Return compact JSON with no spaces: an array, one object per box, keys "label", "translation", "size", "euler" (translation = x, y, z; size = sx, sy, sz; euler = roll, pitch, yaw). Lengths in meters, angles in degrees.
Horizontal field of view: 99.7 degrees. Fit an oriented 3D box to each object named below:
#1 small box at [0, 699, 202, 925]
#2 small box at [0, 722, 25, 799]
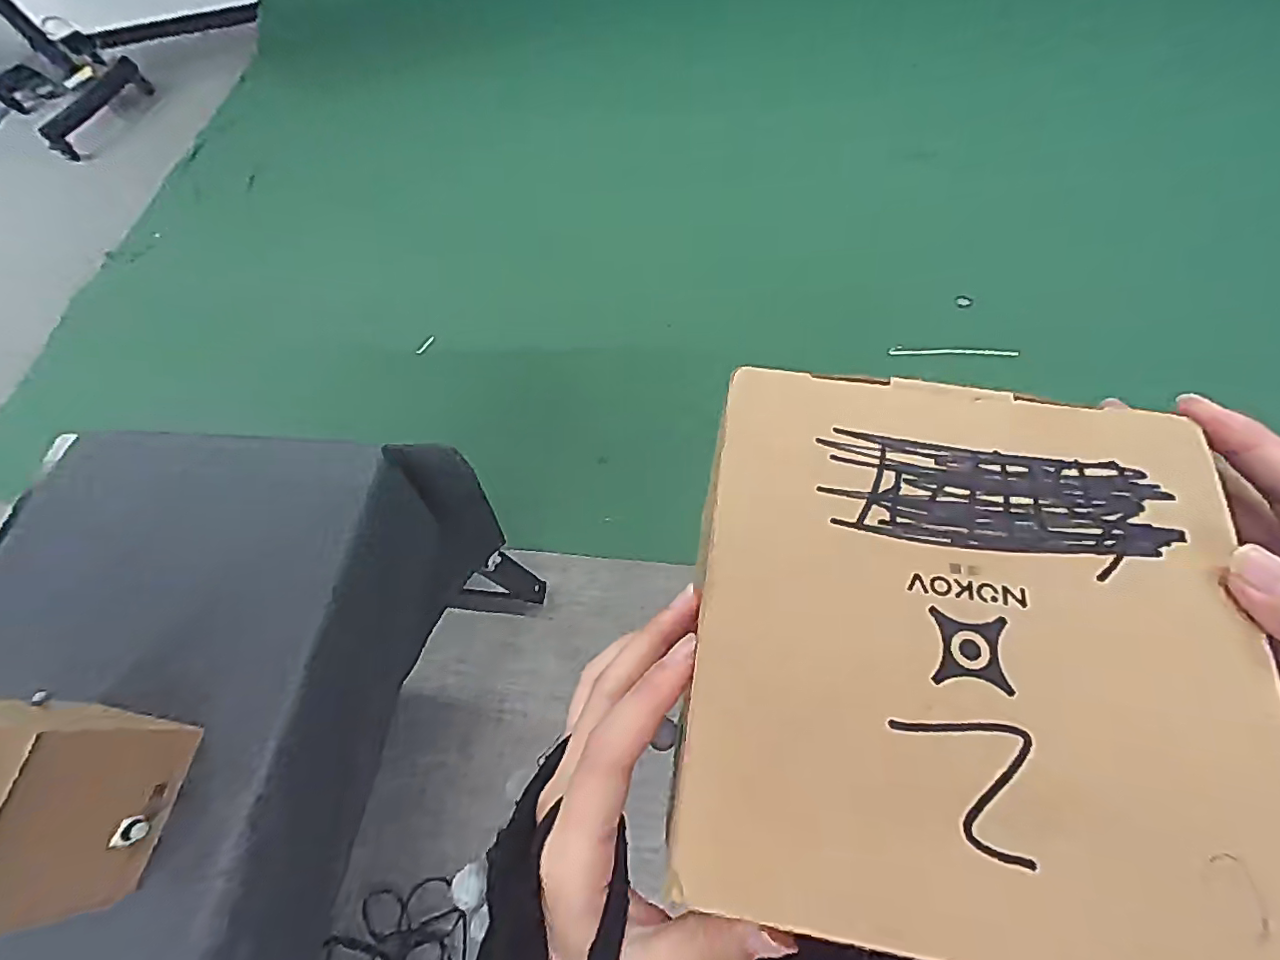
[{"label":"small box","translation":[-0.604,0.317,0.534],"size":[0.179,0.176,0.168],"euler":[4,67,13]},{"label":"small box","translation":[-0.627,0.255,0.385],"size":[0.179,0.176,0.168],"euler":[2,67,14]}]
